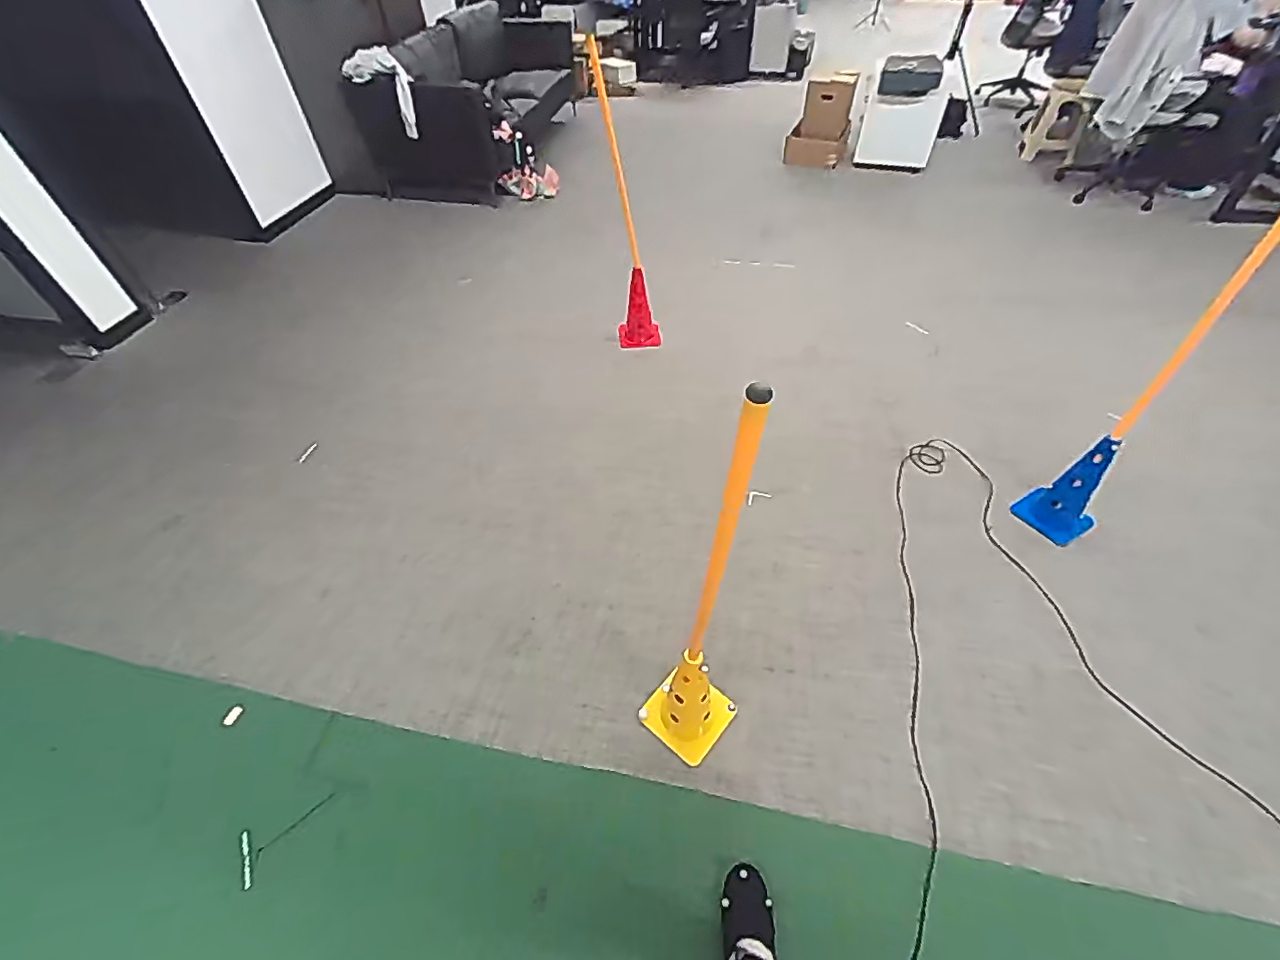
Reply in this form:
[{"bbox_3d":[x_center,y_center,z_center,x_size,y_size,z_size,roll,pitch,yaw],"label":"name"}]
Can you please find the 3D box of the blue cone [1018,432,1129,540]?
[{"bbox_3d":[1.411,-0.006,1.725,0.193,0.380,0.192,-25,51,-23],"label":"blue cone"}]
